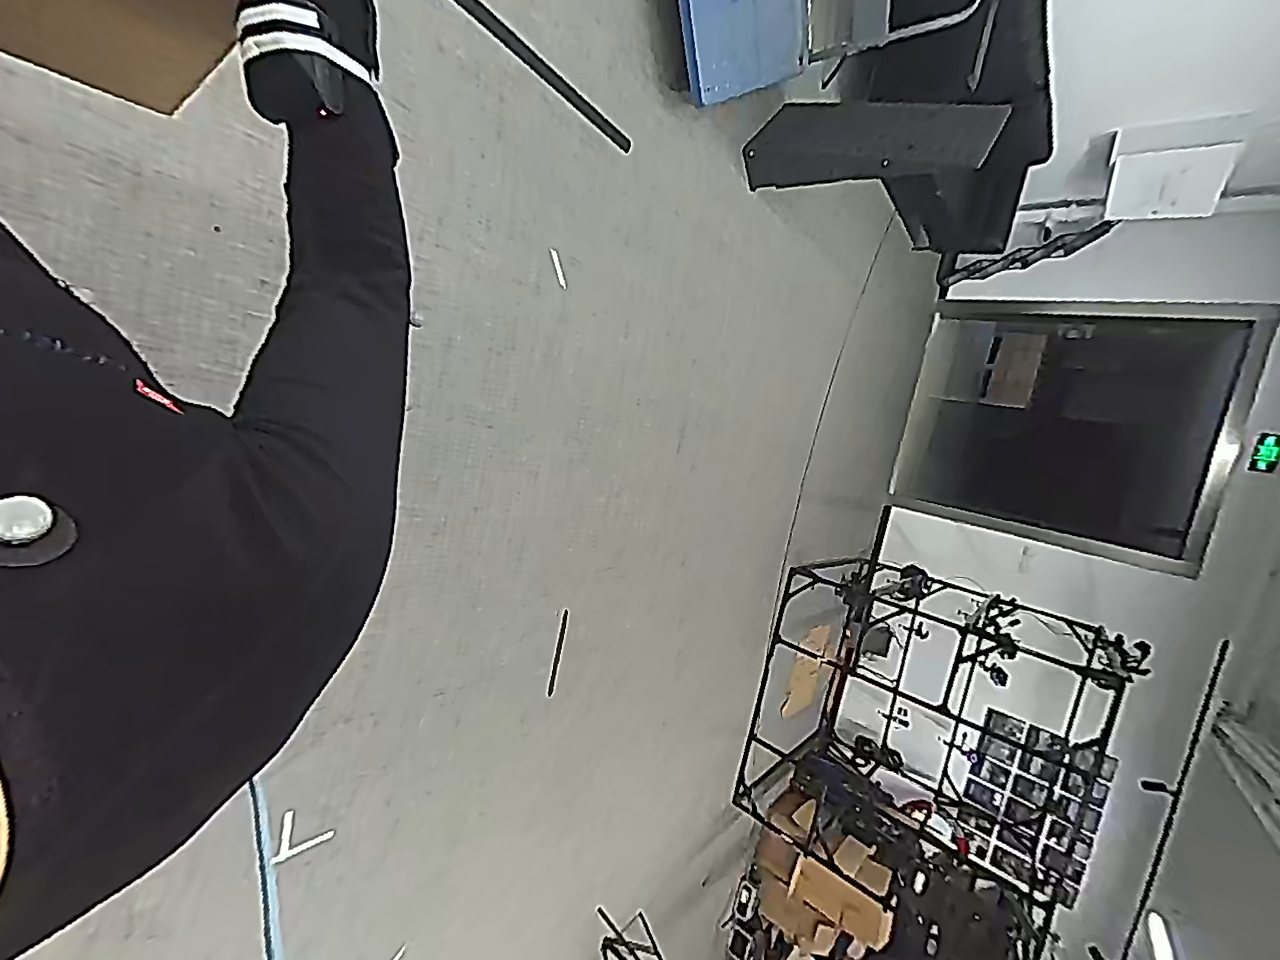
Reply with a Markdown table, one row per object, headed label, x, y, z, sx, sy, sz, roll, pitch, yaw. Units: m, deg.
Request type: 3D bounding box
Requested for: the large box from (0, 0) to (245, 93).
| label | x | y | z | sx | sy | sz | roll | pitch | yaw |
| --- | --- | --- | --- | --- | --- | --- | --- | --- | --- |
| large box | -0.468 | -0.499 | 0.277 | 0.408 | 0.320 | 0.320 | -2 | 102 | -52 |
